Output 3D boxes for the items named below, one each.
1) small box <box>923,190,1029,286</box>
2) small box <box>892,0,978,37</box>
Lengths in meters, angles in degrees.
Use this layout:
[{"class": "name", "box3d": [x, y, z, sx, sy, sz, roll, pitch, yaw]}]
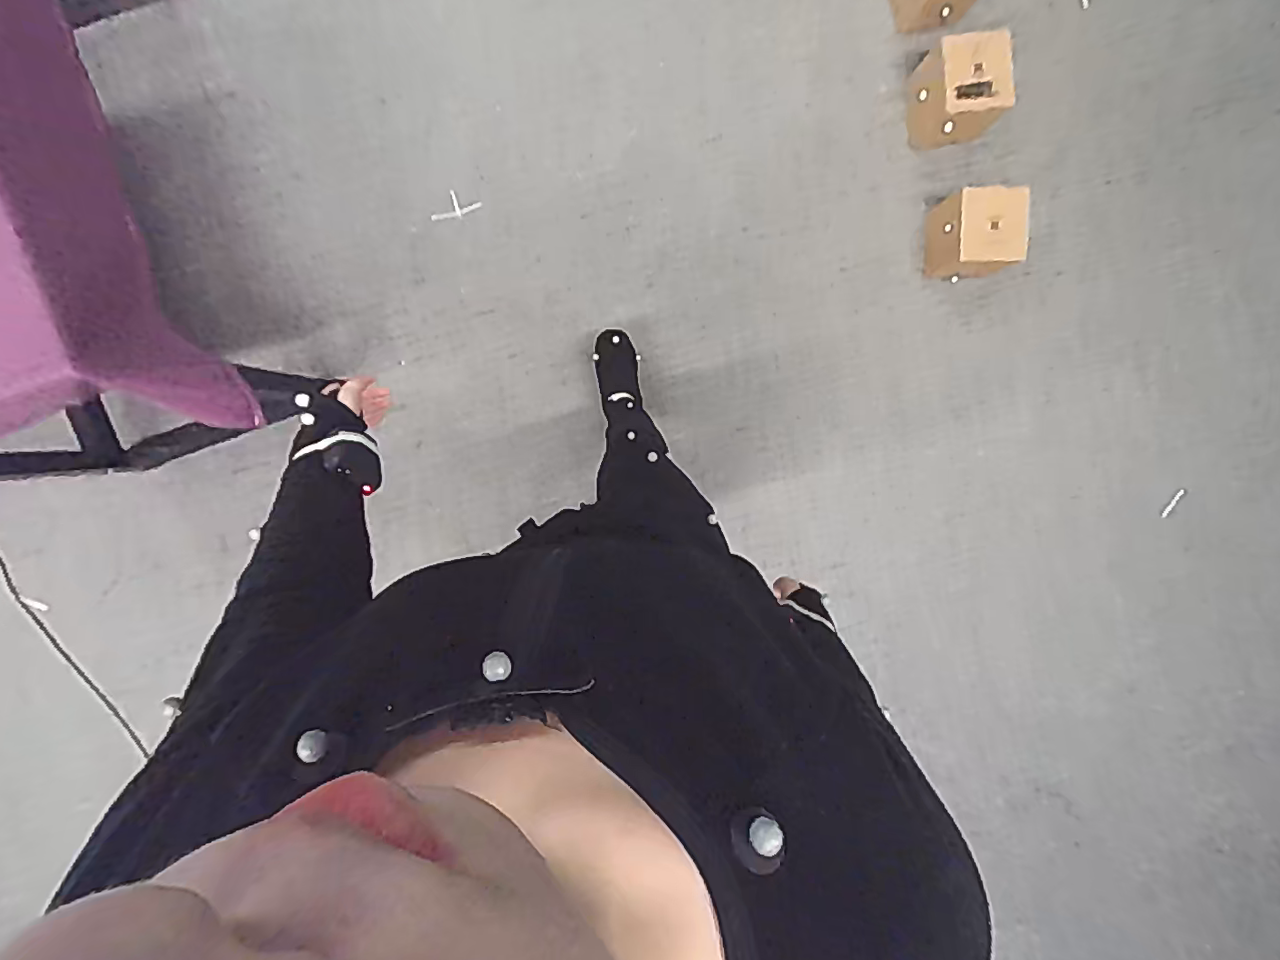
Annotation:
[{"class": "small box", "box3d": [0.848, -0.611, 1.380, 0.168, 0.176, 0.179, 0, 95, -1]}, {"class": "small box", "box3d": [0.740, -1.240, 1.328, 0.168, 0.176, 0.179, -15, 94, -1]}]
